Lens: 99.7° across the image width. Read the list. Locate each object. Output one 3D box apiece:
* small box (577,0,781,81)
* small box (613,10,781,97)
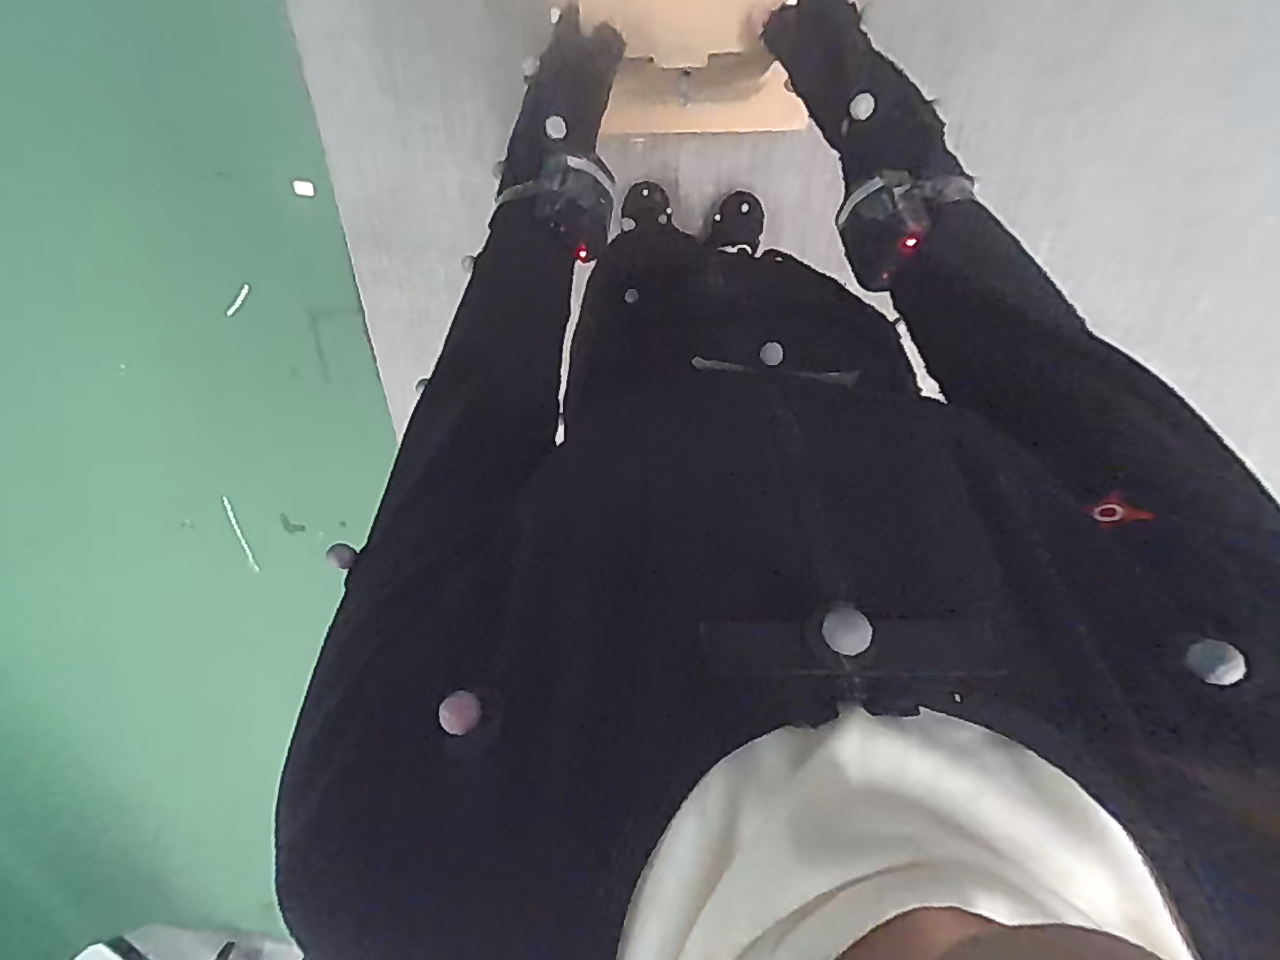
[{"bbox_3d":[0.040,-0.459,0.467,0.168,0.176,0.179,2,122,8],"label":"small box"},{"bbox_3d":[0.065,-0.538,0.608,0.179,0.176,0.168,3,122,8],"label":"small box"}]
